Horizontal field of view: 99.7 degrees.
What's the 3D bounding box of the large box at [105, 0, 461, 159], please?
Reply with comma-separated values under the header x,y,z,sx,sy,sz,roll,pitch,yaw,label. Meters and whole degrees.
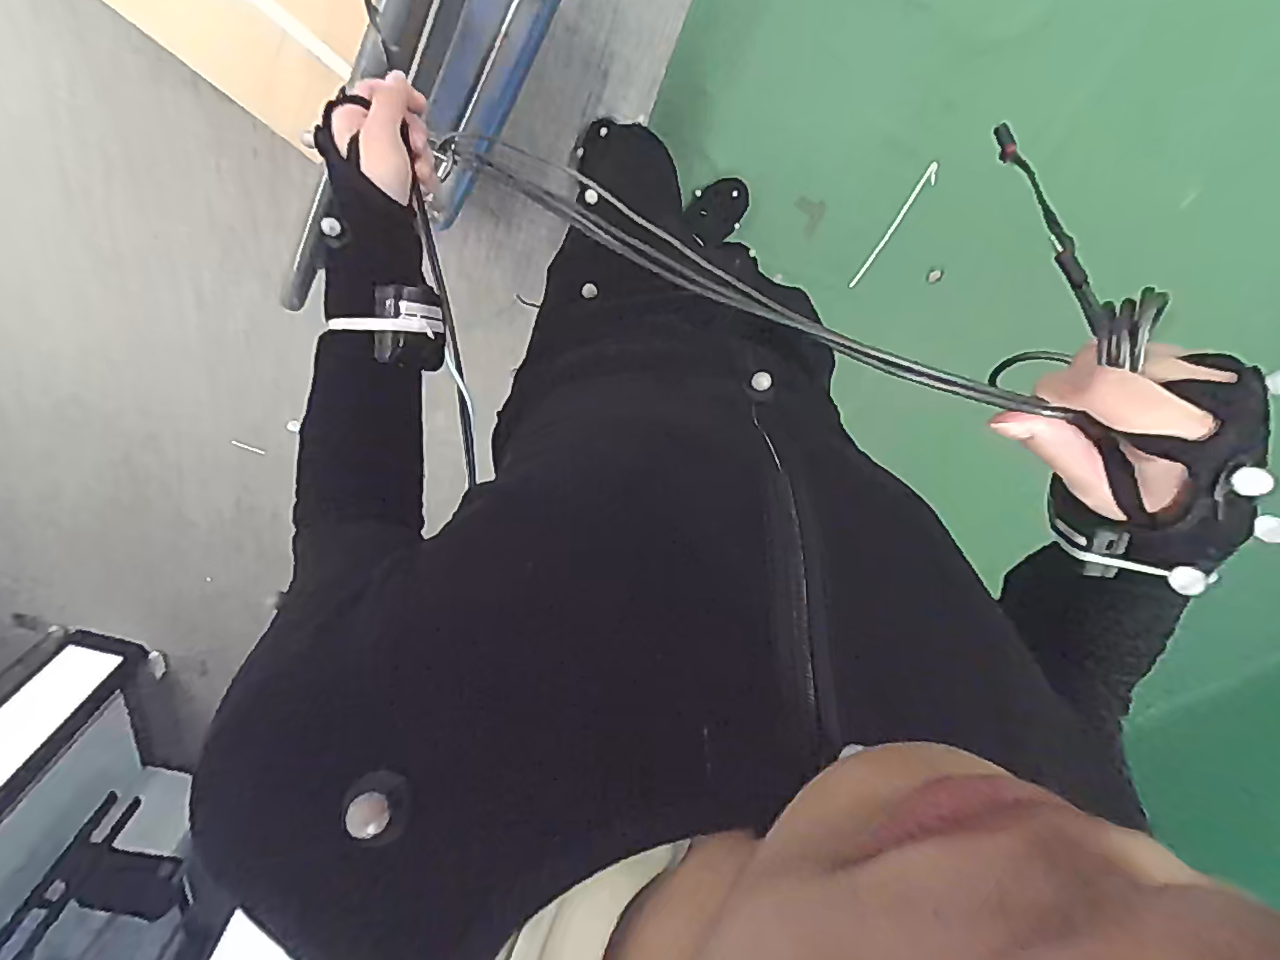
x,y,z,sx,sy,sz,roll,pitch,yaw,label
-0.577,-0.814,0.884,0.408,0.320,0.320,35,120,-19,large box
